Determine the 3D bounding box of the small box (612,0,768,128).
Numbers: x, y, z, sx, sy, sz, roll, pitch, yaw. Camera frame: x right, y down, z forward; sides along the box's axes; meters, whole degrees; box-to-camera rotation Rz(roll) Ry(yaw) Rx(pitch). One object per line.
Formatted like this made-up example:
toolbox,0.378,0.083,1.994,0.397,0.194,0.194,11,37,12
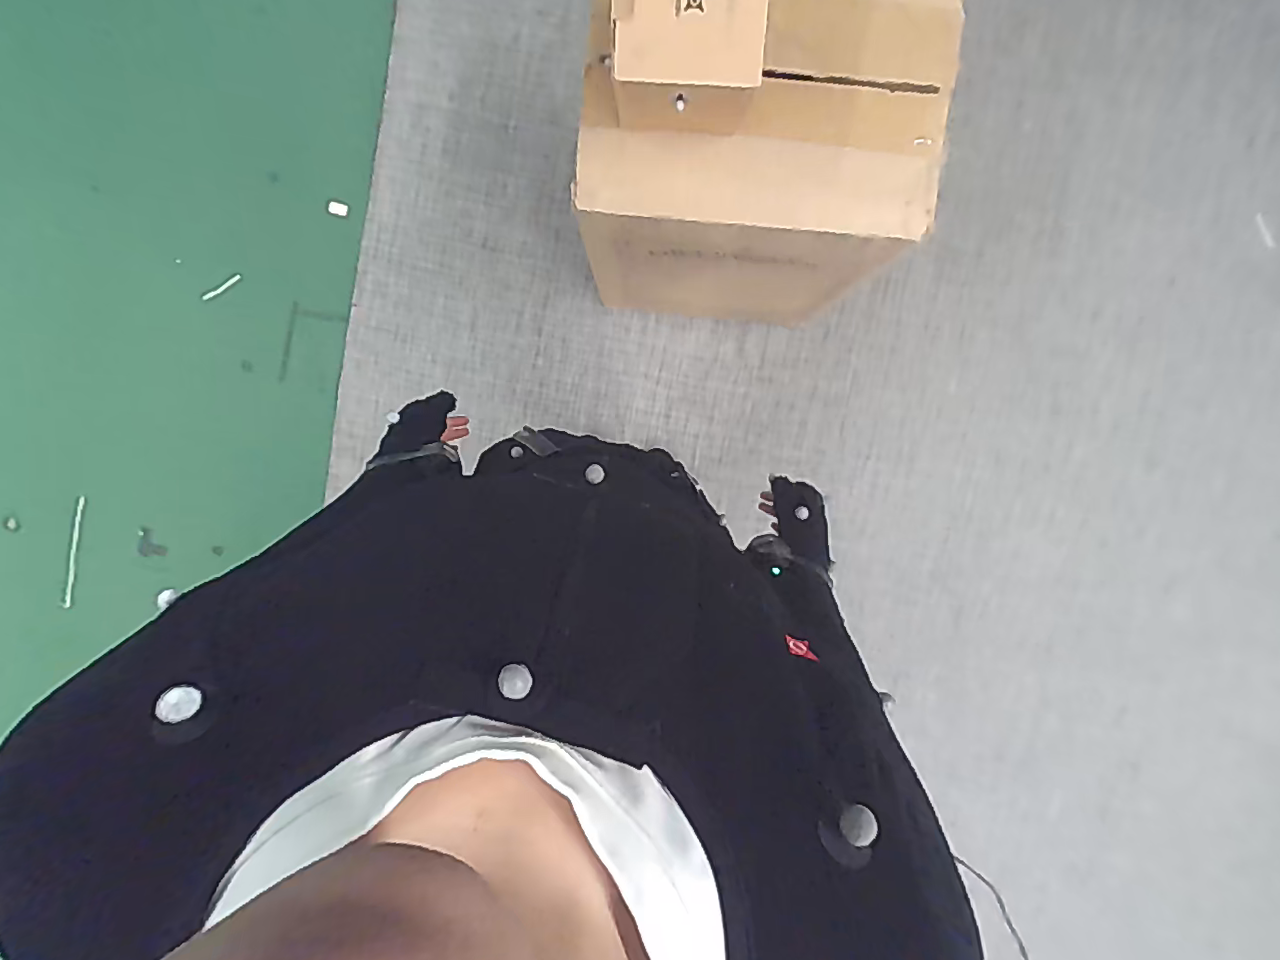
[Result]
small box,0.060,-0.567,0.685,0.179,0.176,0.168,3,107,-1
